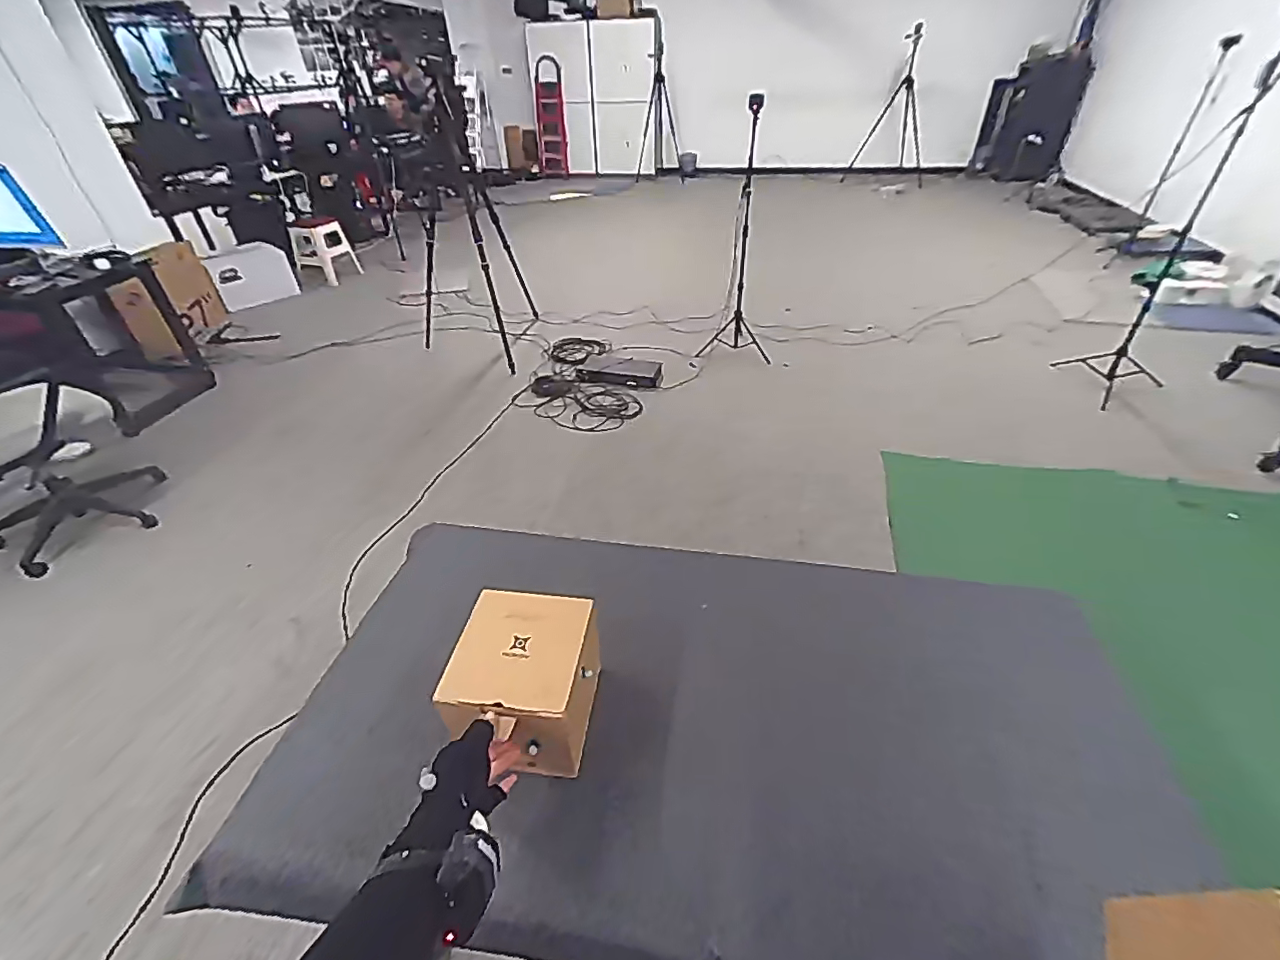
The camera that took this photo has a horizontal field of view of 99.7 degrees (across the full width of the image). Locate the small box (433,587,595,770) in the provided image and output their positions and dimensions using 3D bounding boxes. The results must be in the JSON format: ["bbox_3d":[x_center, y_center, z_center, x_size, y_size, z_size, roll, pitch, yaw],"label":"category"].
[{"bbox_3d":[-0.158,0.277,0.755,0.168,0.176,0.179,5,38,5],"label":"small box"}]
